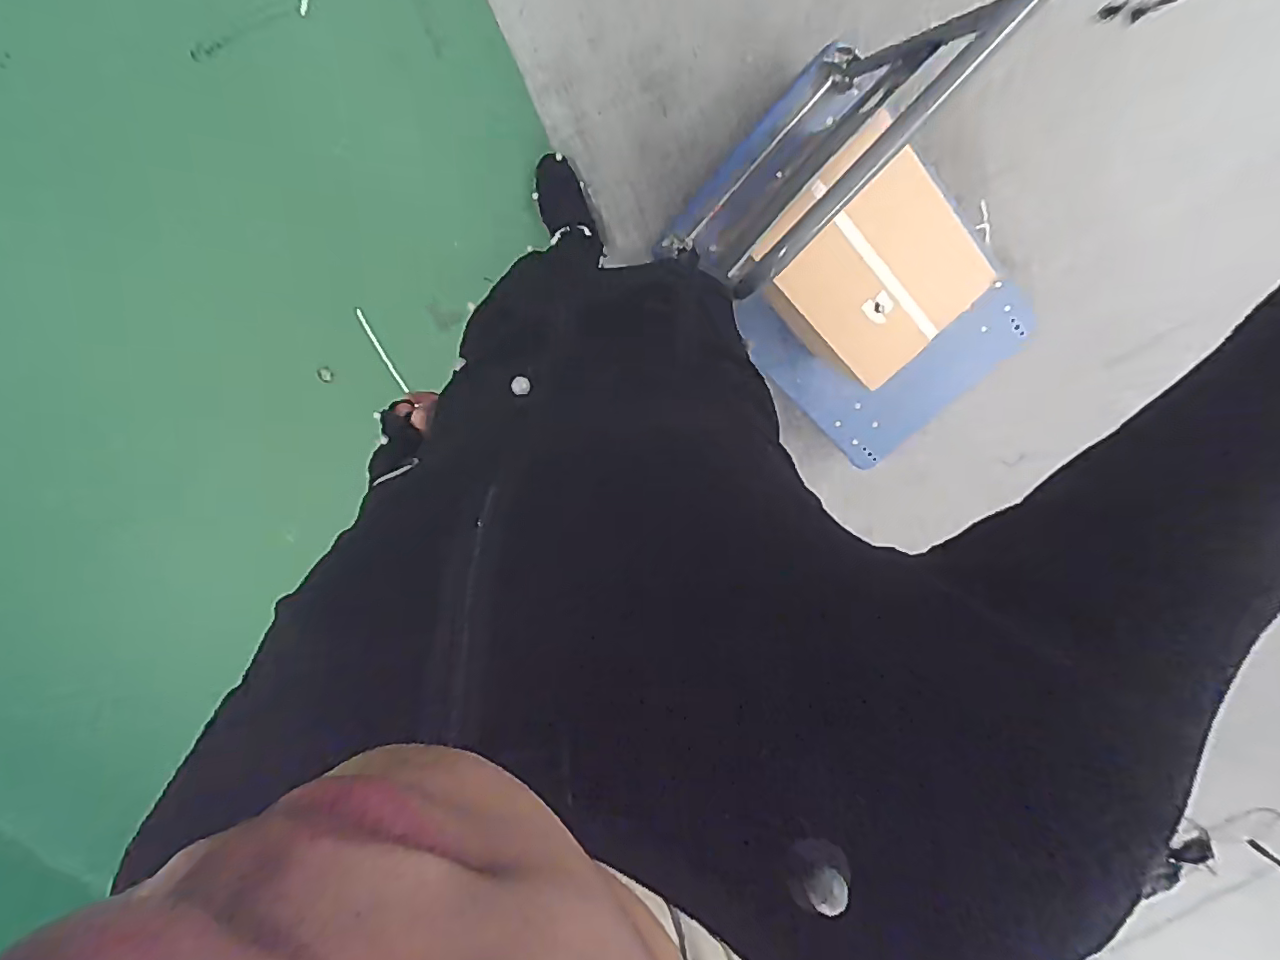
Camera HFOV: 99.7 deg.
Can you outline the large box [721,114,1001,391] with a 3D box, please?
[{"bbox_3d":[0.440,-0.466,1.148,0.408,0.320,0.320,40,107,-21],"label":"large box"}]
